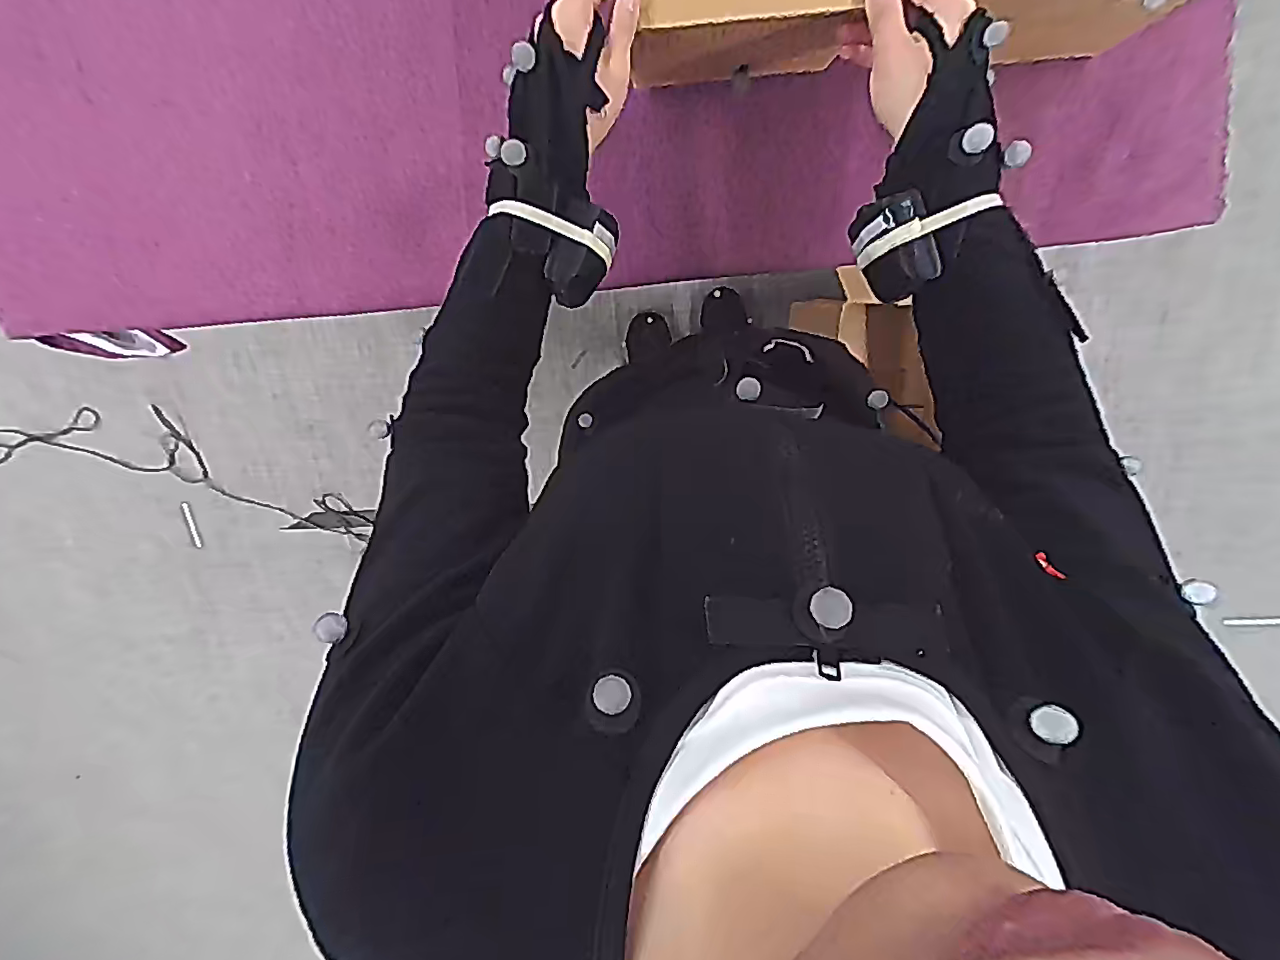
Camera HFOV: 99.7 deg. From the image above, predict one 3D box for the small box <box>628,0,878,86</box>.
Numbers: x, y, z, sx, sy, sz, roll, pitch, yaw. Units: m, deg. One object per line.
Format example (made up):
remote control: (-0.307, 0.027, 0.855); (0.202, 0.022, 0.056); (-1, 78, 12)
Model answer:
small box: (0.075, -0.412, 0.390); (0.179, 0.176, 0.168); (-2, 114, 5)

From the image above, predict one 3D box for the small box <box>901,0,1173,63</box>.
small box: (0.320, -0.438, 0.394); (0.179, 0.176, 0.168); (-2, 107, 4)
